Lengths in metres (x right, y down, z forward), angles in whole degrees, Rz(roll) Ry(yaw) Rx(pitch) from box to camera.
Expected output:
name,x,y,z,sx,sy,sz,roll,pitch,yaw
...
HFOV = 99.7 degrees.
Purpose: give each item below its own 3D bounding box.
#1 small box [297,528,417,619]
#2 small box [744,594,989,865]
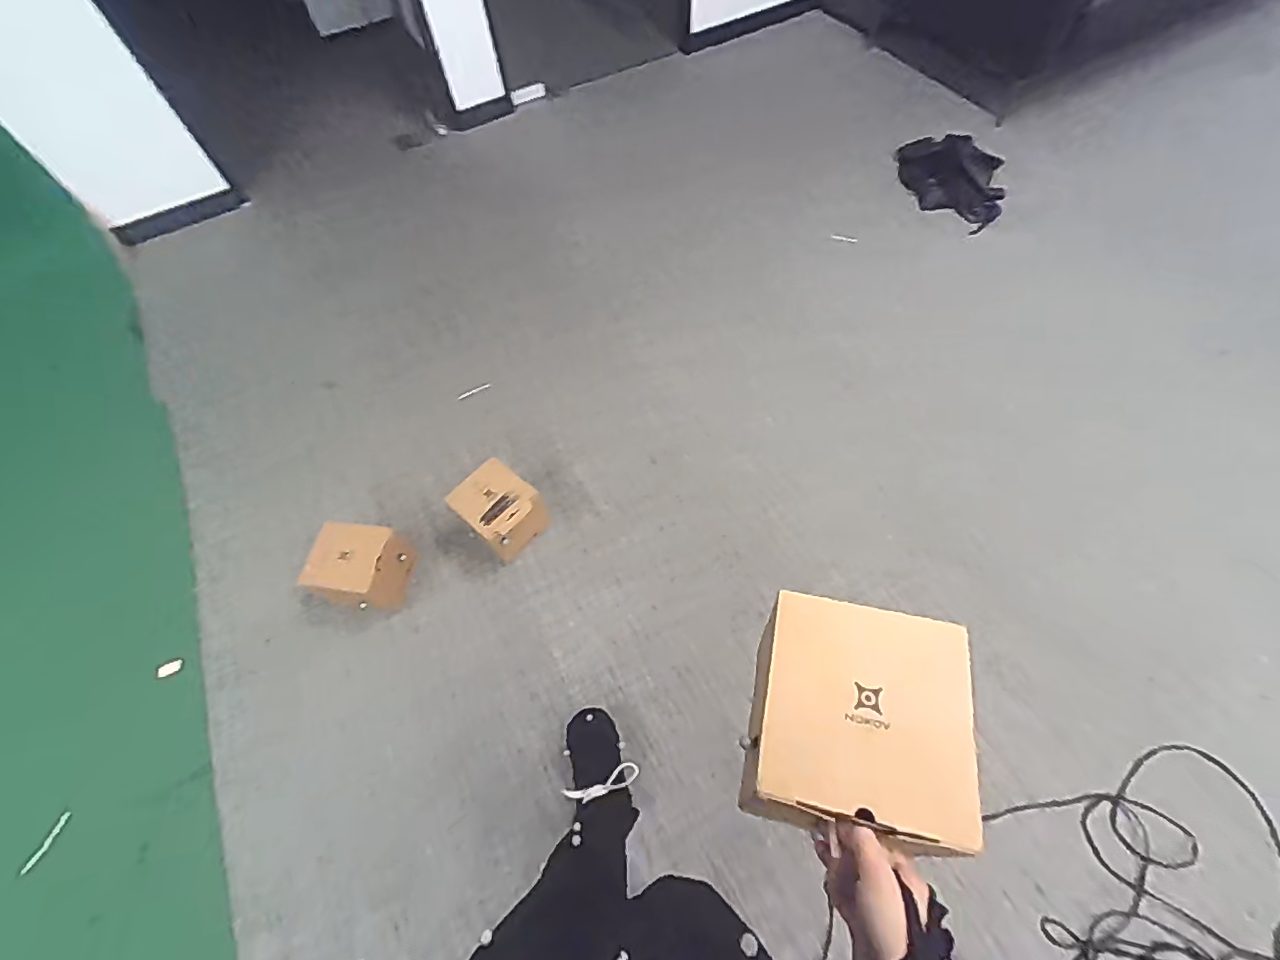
name,x,y,z,sx,sy,sz,roll,pitch,yaw
small box,-0.680,0.234,1.326,0.179,0.176,0.168,4,59,7
small box,0.196,0.235,0.510,0.168,0.176,0.179,10,57,11
